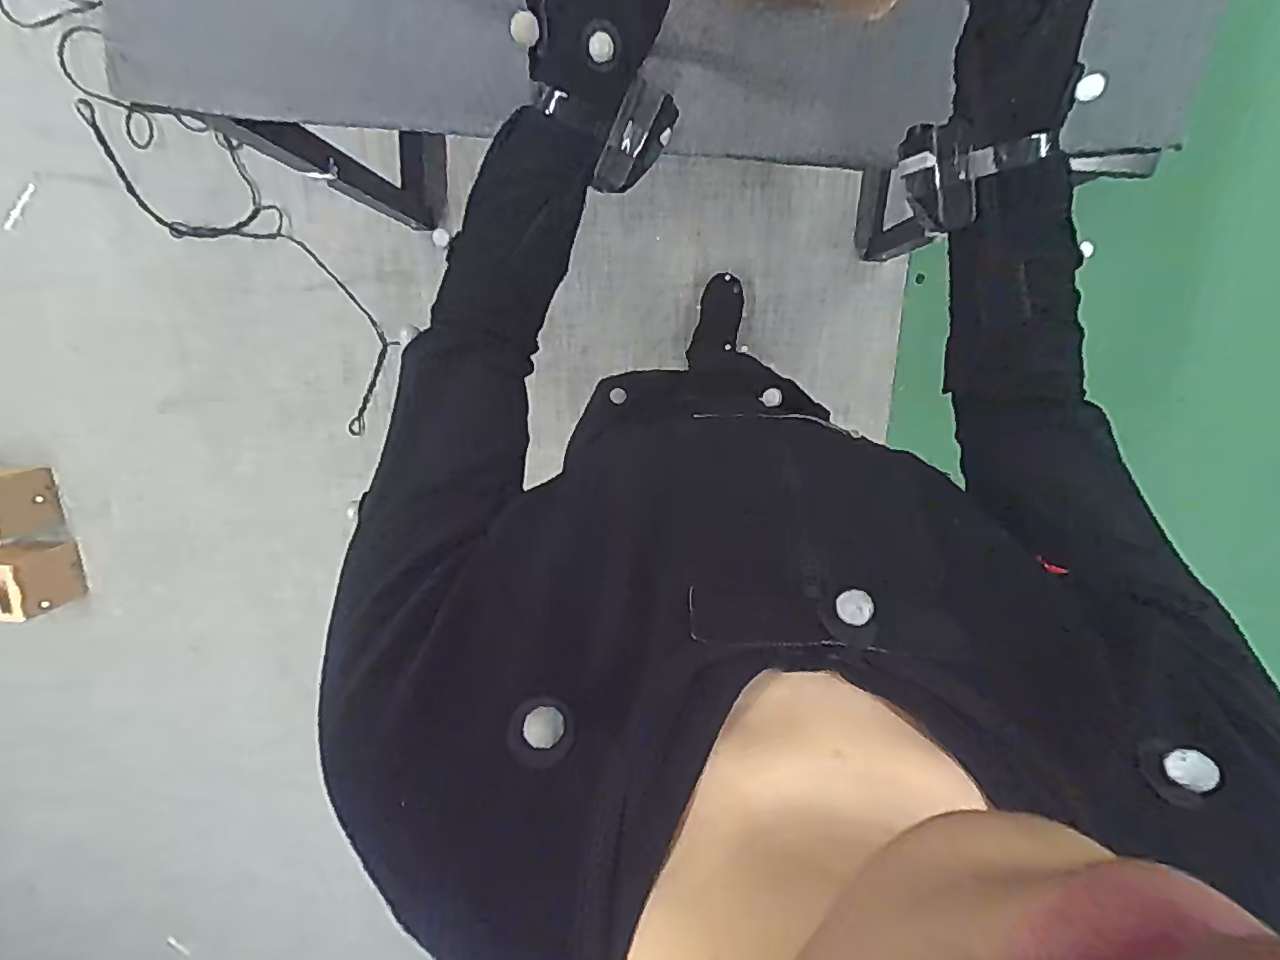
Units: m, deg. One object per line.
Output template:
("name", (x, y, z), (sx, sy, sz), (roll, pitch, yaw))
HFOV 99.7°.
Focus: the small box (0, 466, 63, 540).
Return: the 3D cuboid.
("small box", (-1.721, 0.060, 1.440), (0.179, 0.176, 0.168), (0, 104, 1))
